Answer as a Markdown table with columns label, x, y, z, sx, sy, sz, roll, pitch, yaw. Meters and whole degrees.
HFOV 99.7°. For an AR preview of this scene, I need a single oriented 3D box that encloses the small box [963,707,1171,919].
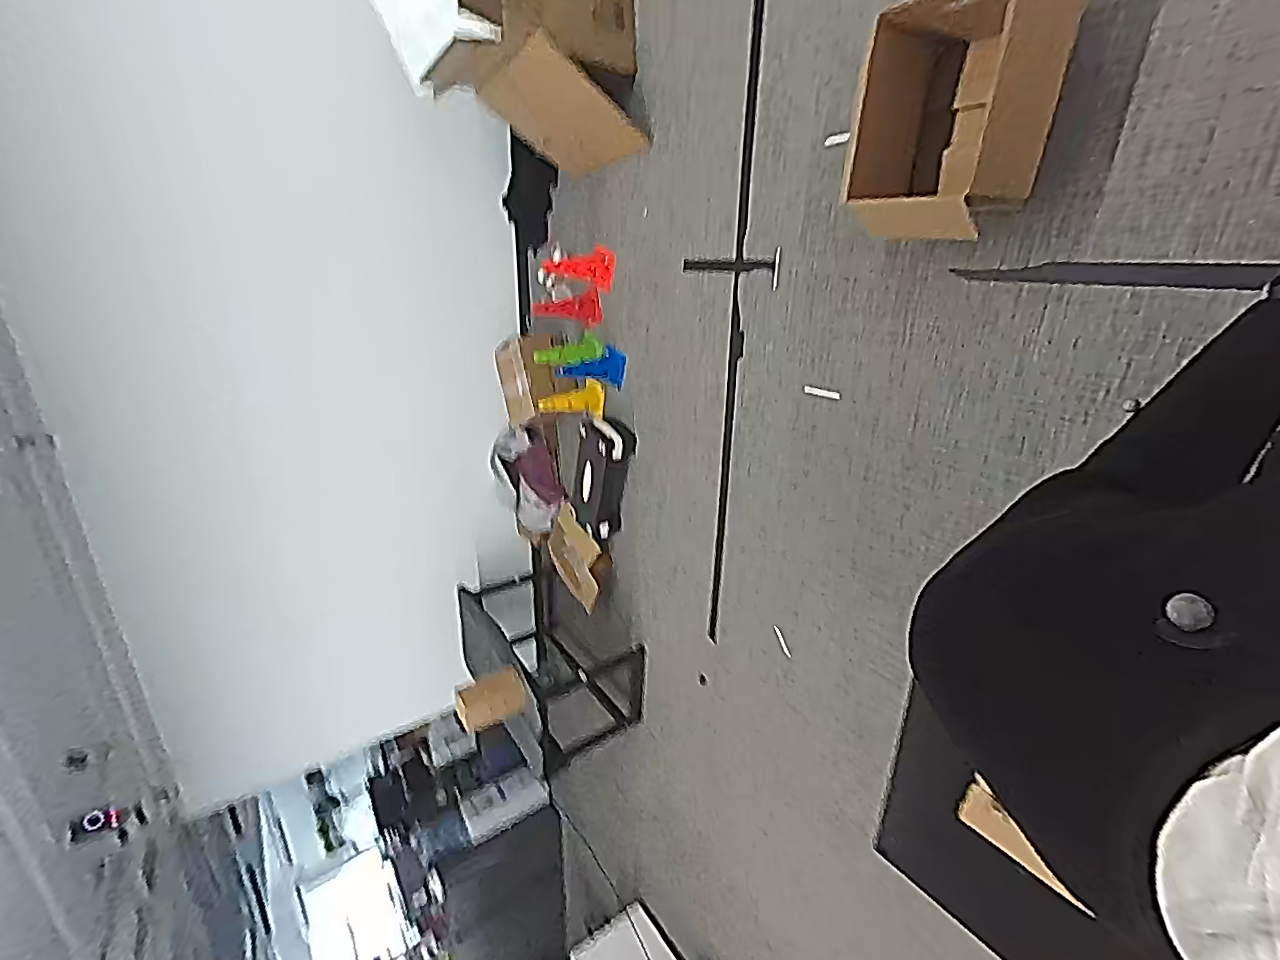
| label | x | y | z | sx | sy | sz | roll | pitch | yaw |
| --- | --- | --- | --- | --- | --- | --- | --- | --- | --- |
| small box | 0.620 | 0.466 | 0.793 | 0.179 | 0.176 | 0.168 | 27 | 123 | 47 |
